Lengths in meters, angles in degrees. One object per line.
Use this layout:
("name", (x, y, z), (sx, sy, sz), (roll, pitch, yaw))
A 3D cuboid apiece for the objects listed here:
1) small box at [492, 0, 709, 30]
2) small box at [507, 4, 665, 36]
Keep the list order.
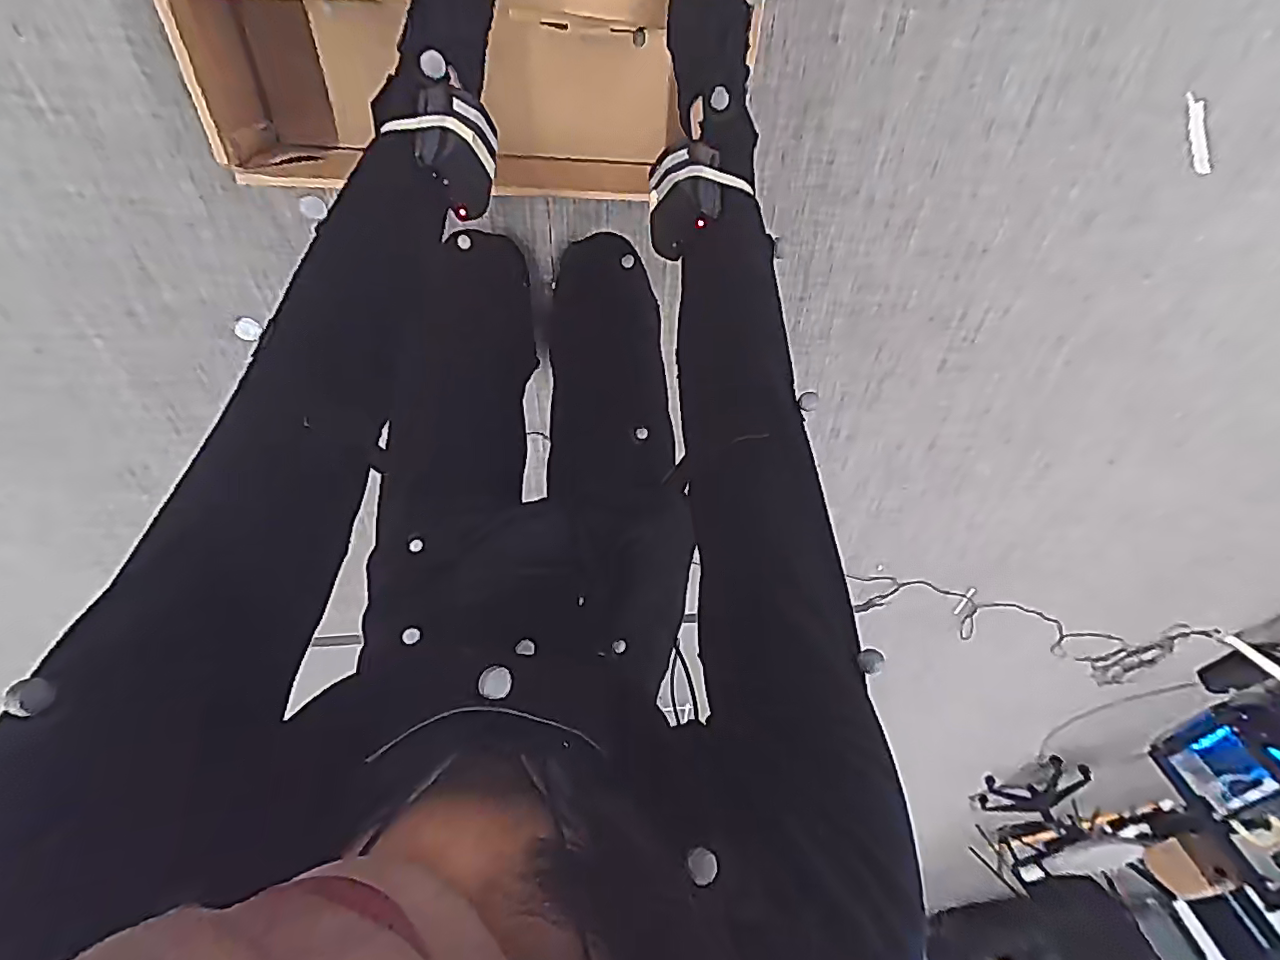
("small box", (-0.032, -0.482, 0.435), (0.179, 0.176, 0.168), (1, 130, -7))
("small box", (-0.053, -0.586, 0.558), (0.168, 0.176, 0.179), (-1, 133, -8))
